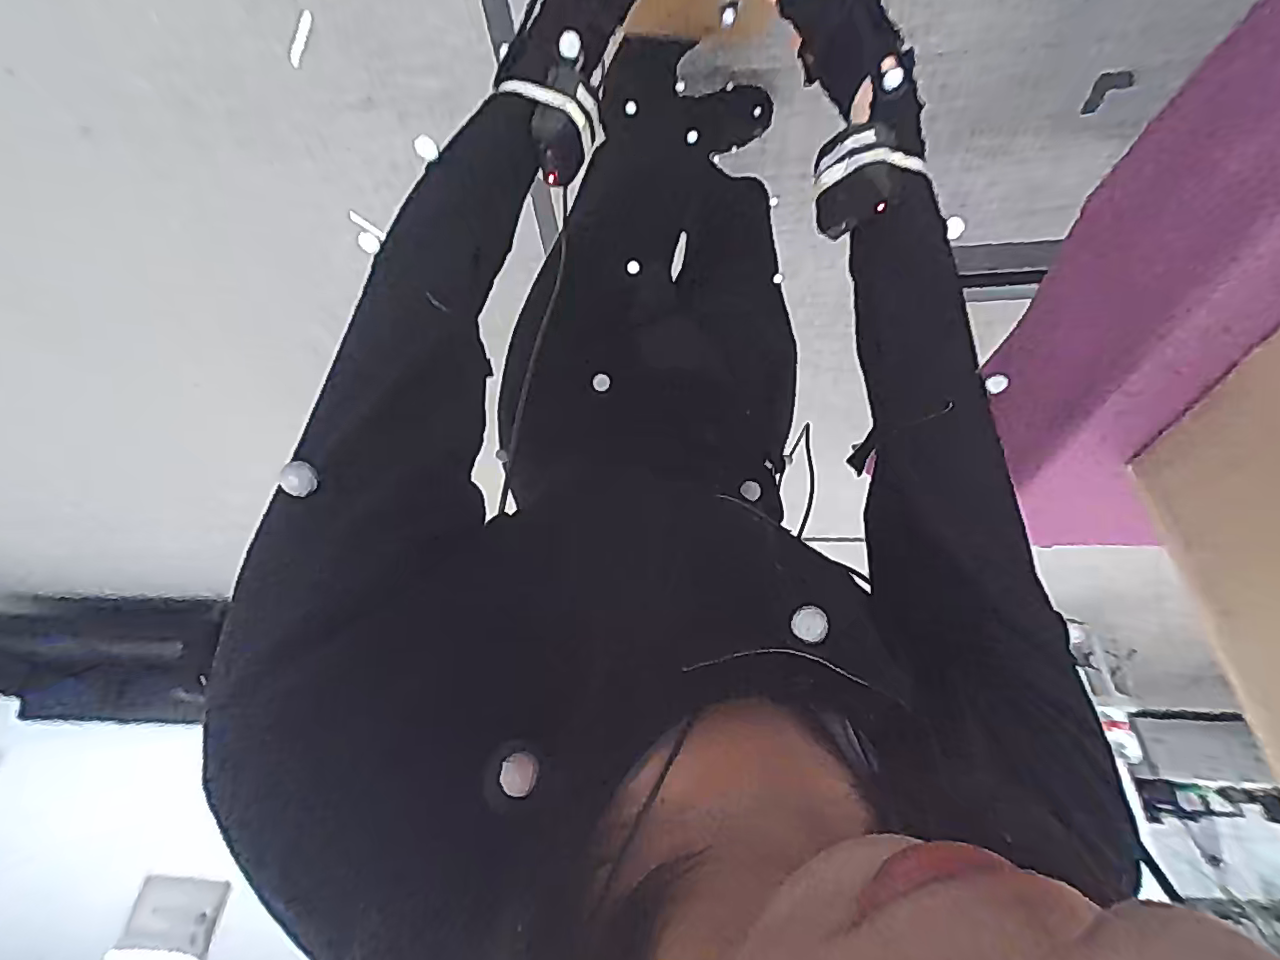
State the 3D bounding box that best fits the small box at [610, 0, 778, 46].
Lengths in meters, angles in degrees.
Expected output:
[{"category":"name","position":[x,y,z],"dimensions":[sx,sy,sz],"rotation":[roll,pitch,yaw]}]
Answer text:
[{"category":"small box","position":[0.057,-0.530,0.484],"dimensions":[0.168,0.176,0.179],"rotation":[3,108,-4]}]
